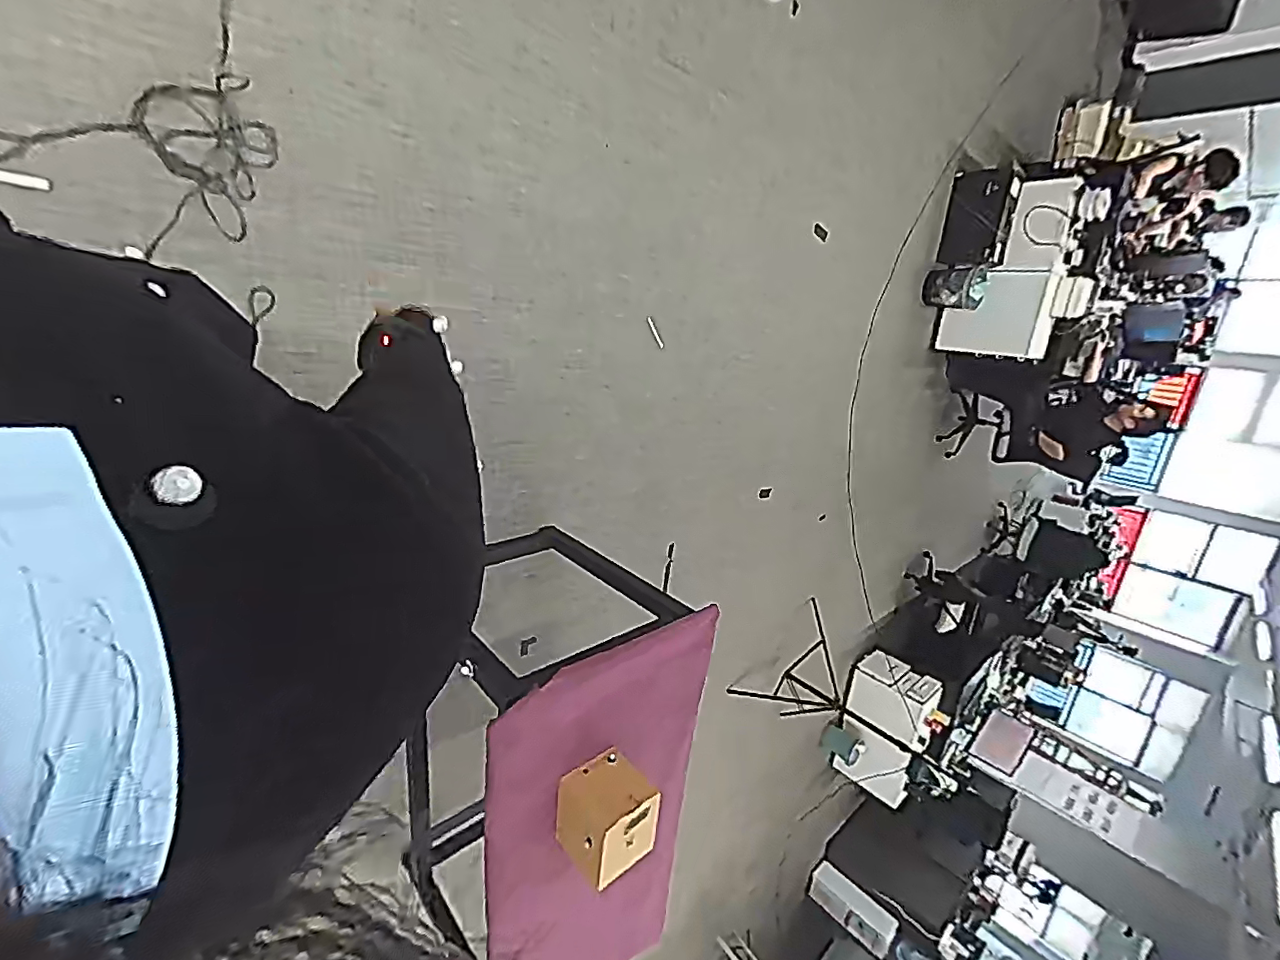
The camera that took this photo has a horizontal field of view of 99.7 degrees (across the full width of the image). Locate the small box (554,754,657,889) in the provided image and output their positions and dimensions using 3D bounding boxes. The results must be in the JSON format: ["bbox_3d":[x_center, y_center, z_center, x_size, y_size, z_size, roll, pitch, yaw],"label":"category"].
[{"bbox_3d":[-0.083,0.771,1.248,0.168,0.176,0.179,-9,113,-42],"label":"small box"}]
